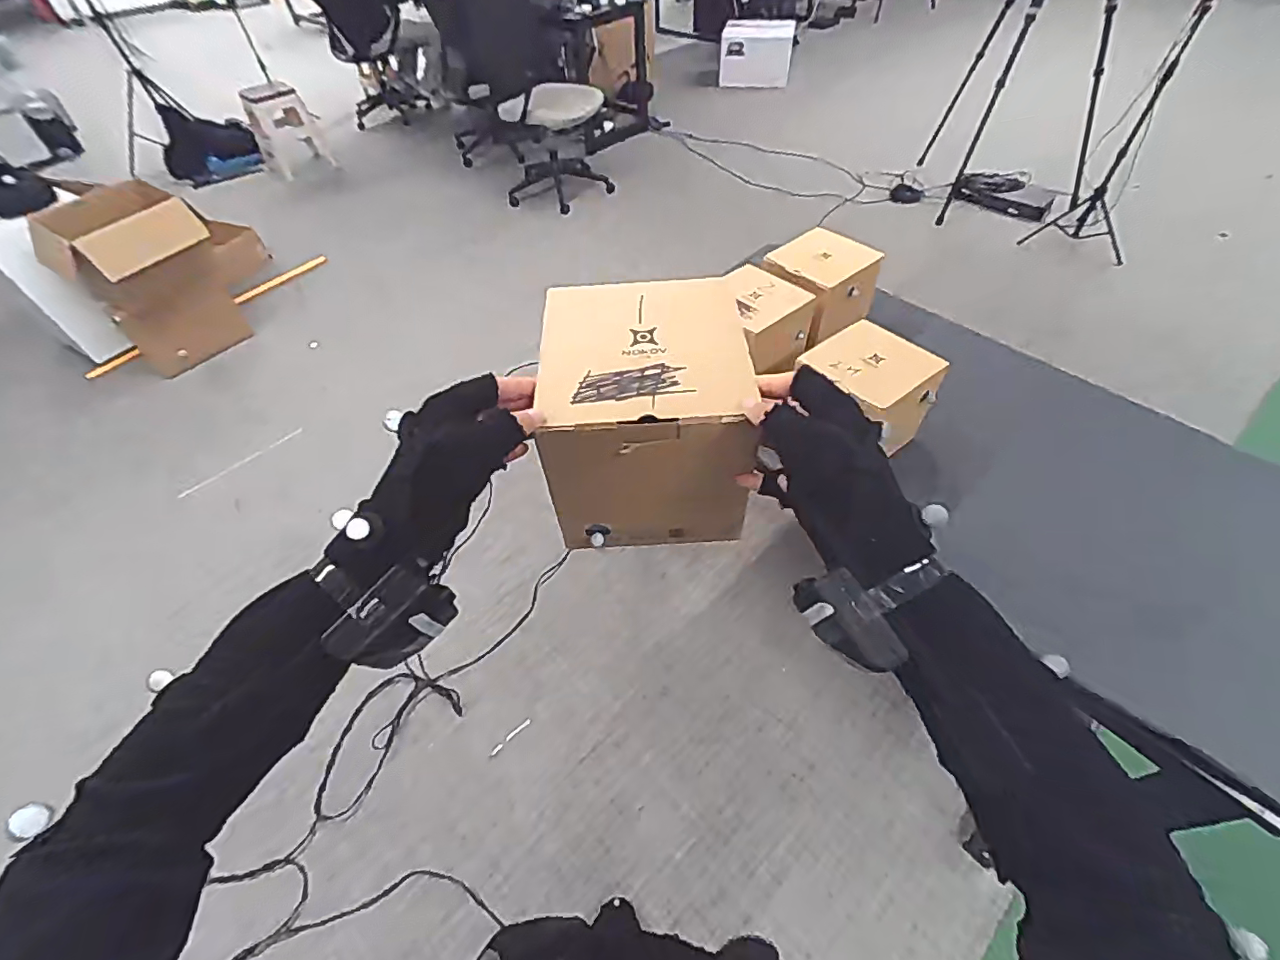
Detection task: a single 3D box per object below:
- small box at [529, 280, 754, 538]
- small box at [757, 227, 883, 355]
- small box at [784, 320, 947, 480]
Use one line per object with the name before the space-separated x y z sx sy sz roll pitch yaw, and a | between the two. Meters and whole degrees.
small box | 0.002 -0.057 0.496 0.168 0.176 0.179 -3 52 0
small box | 0.365 -0.392 1.129 0.179 0.176 0.168 -35 57 -22
small box | 0.369 -0.135 0.917 0.179 0.176 0.168 -32 56 -22
